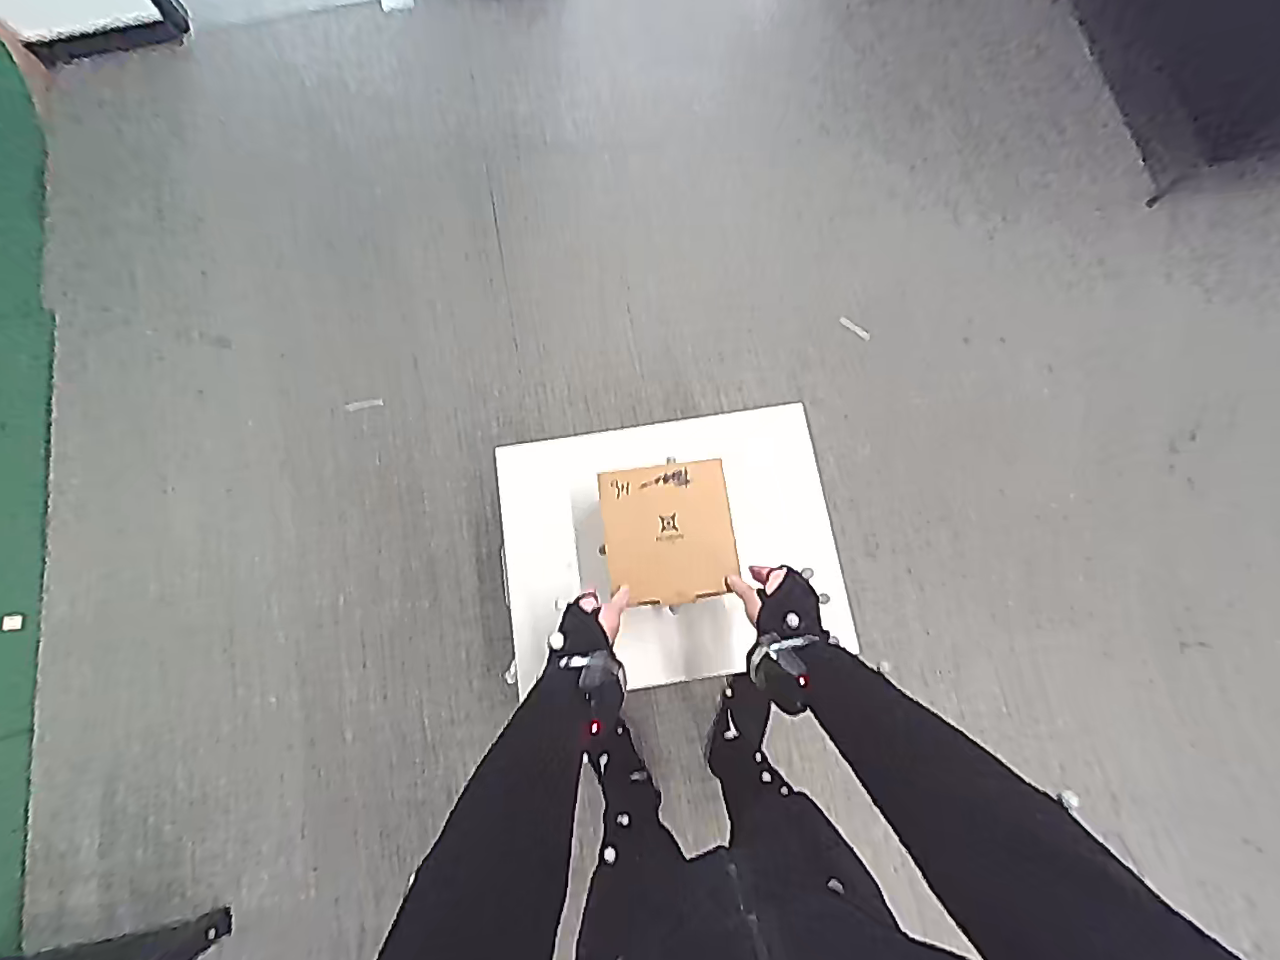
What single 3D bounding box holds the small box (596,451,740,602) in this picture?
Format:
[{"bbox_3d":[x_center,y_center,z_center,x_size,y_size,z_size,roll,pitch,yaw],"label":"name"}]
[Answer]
[{"bbox_3d":[0.037,0.074,0.770,0.168,0.176,0.179,-9,77,-1],"label":"small box"}]
